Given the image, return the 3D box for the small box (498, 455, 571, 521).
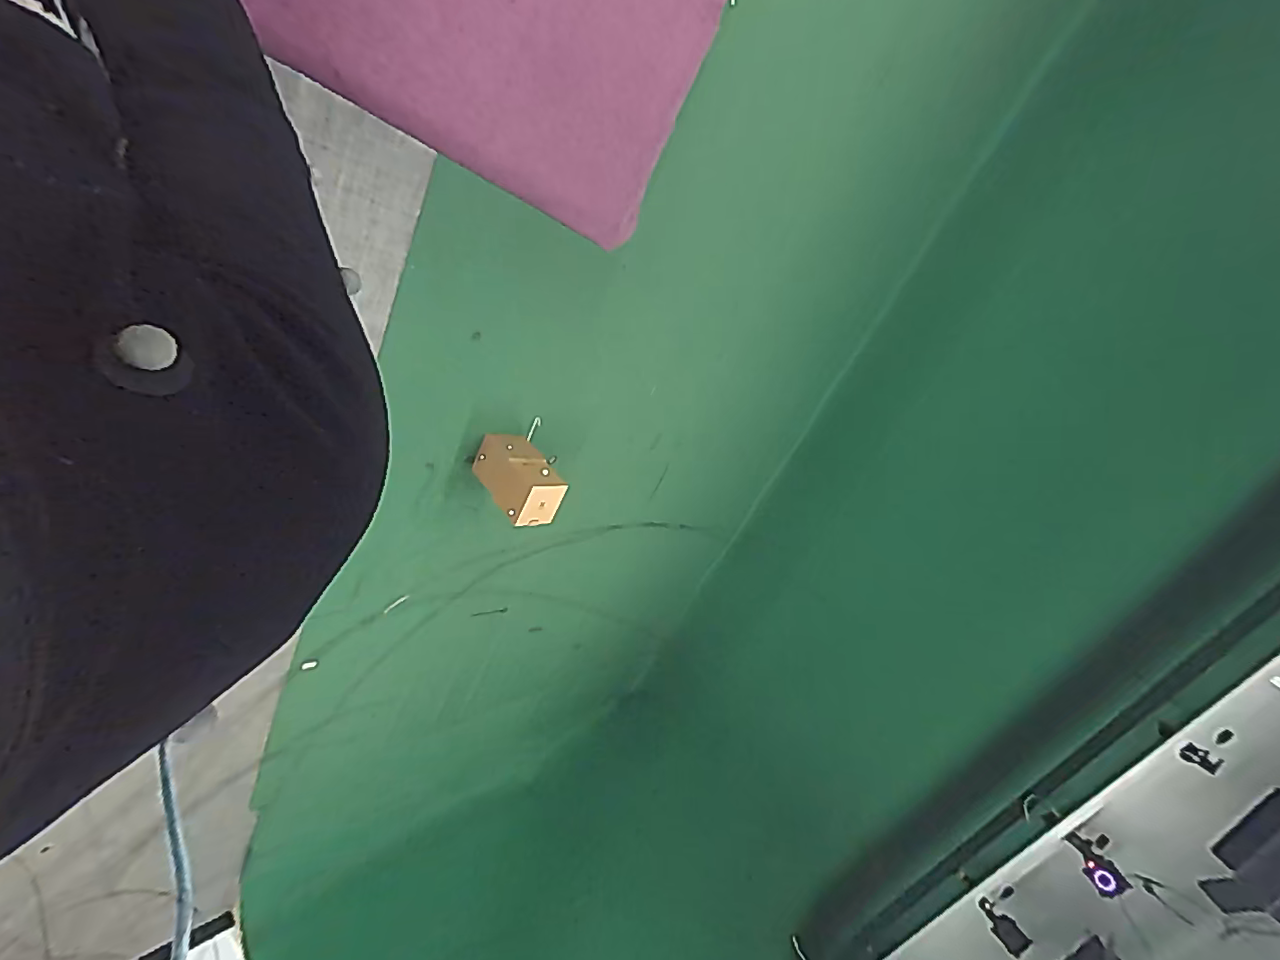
[{"bbox_3d":[-0.387,0.025,1.947,0.168,0.176,0.179,-1,128,-50],"label":"small box"}]
